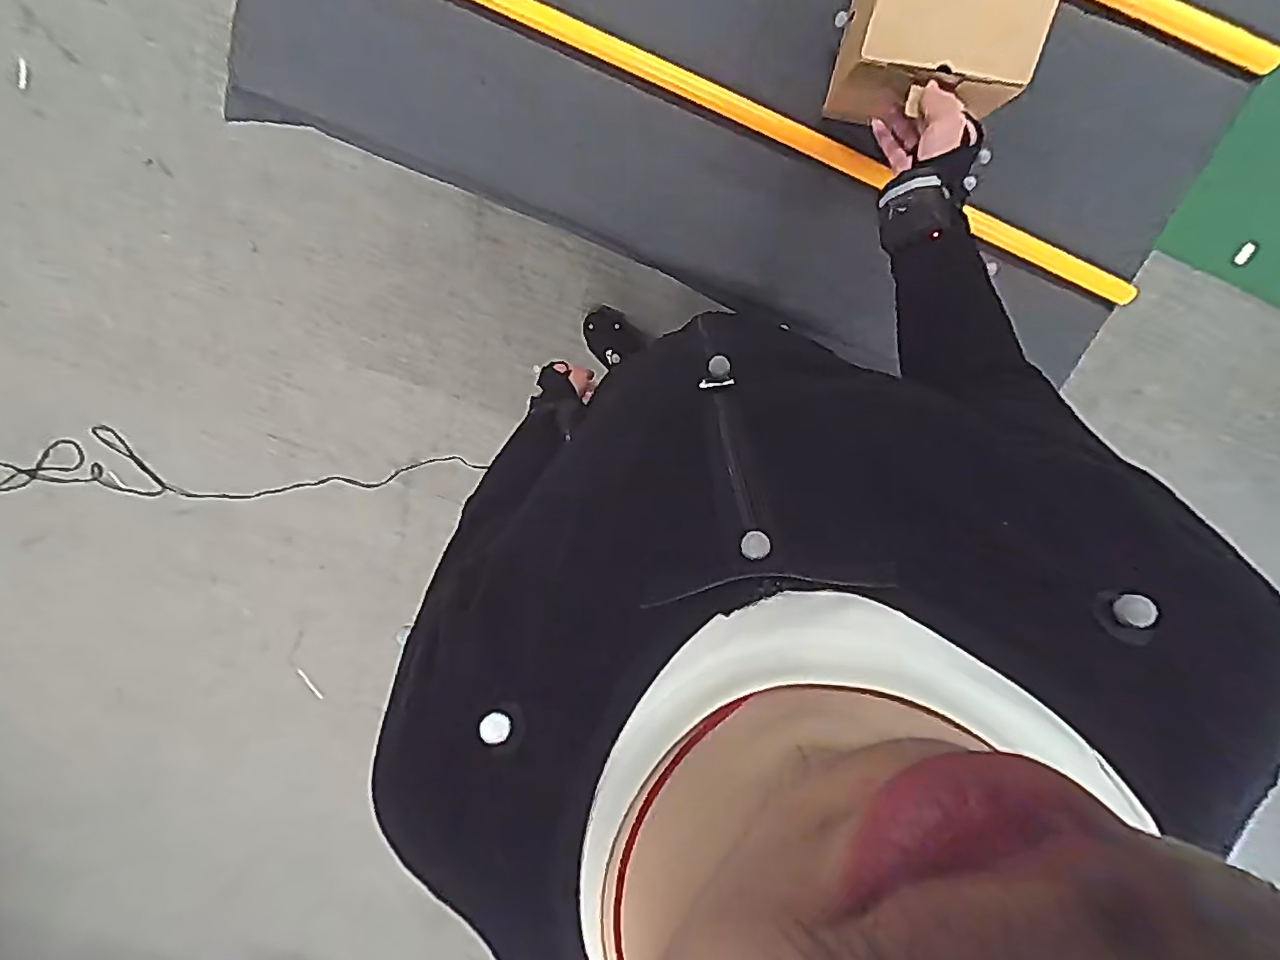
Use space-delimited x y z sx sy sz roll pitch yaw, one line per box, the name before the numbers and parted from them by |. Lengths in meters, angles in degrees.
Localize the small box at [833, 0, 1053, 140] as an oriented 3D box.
small box | 0.321 -0.495 0.586 0.168 0.176 0.179 10 108 5
